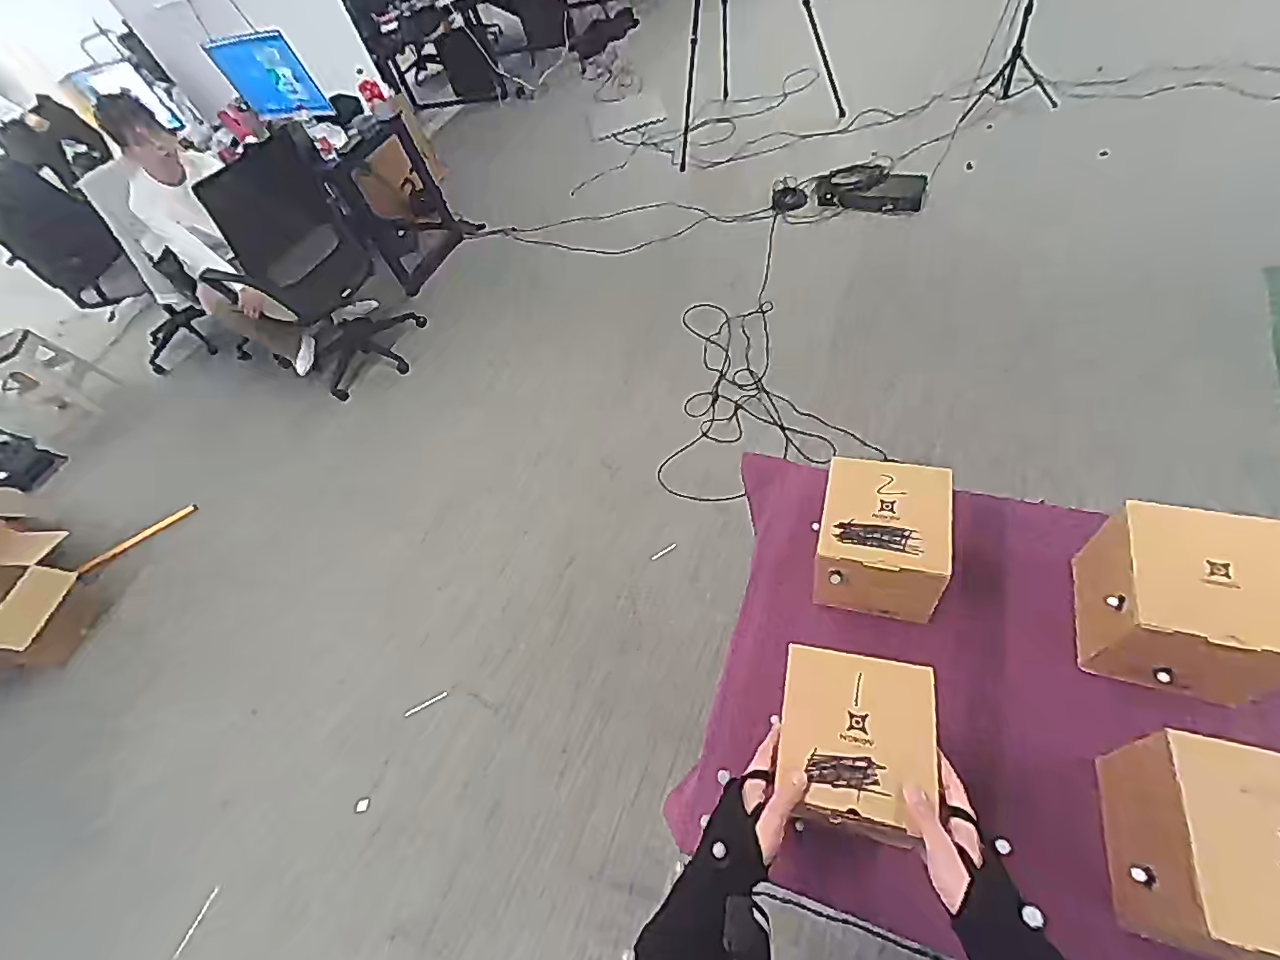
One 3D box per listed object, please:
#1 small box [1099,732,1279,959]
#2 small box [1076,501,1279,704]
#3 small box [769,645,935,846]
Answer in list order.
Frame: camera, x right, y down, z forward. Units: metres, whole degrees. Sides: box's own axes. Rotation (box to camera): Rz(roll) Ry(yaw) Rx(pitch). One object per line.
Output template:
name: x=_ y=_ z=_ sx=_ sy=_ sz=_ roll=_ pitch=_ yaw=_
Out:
small box: x=0.597 y=0.381 z=0.534 sx=0.168 sy=0.176 sz=0.179 roll=8 pitch=56 yaw=20
small box: x=0.679 y=0.154 z=0.677 sx=0.168 sy=0.176 sz=0.179 roll=10 pitch=59 yaw=22
small box: x=0.256 y=0.329 z=0.667 sx=0.168 sy=0.176 sz=0.179 roll=5 pitch=55 yaw=19
